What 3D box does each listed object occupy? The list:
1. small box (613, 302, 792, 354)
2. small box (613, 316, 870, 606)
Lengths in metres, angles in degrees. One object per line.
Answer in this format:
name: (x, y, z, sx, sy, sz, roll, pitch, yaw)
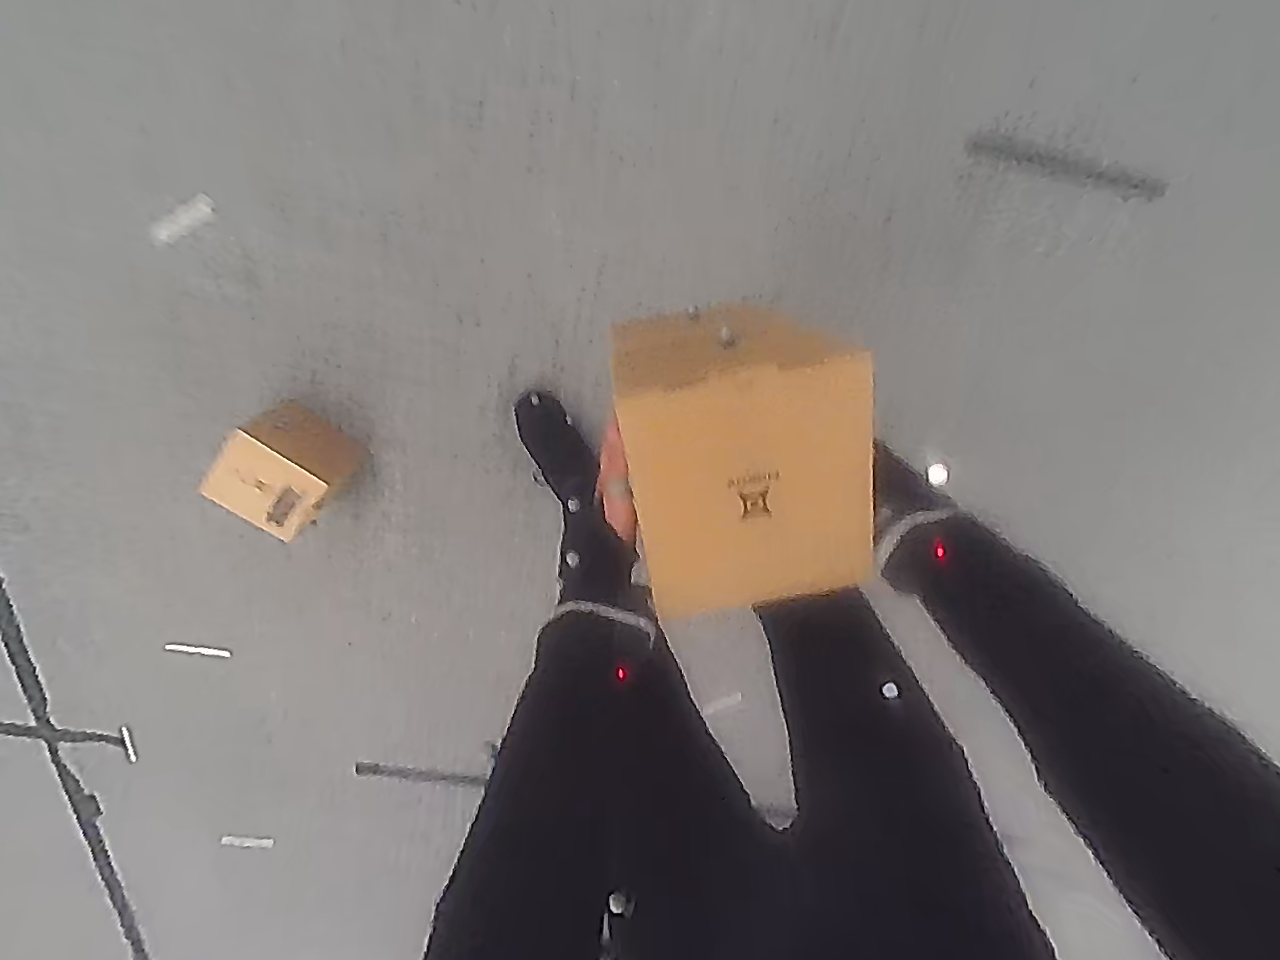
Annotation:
small box: (0.063, -0.095, 0.596, 0.168, 0.176, 0.179, -9, 113, 0)
small box: (0.074, -0.027, 0.447, 0.168, 0.176, 0.179, -10, 112, 1)
